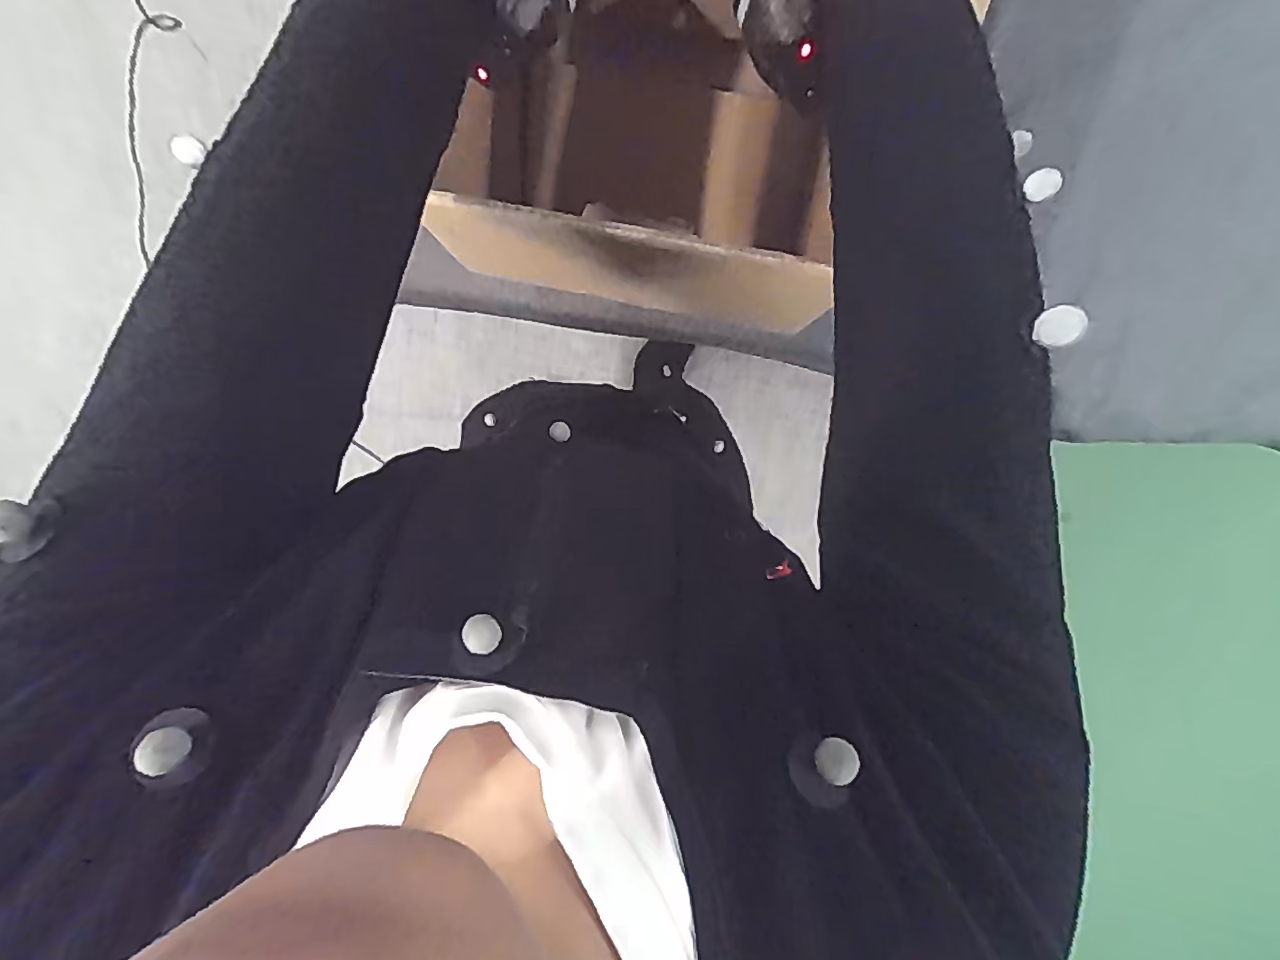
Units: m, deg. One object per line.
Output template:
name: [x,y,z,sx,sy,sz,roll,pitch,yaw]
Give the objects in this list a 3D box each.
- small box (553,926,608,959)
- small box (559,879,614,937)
small box: [-0.212,1.665,1.837,0.179,0.176,0.168,10,111,3]
small box: [-0.196,1.620,1.995,0.179,0.176,0.168,7,110,5]
